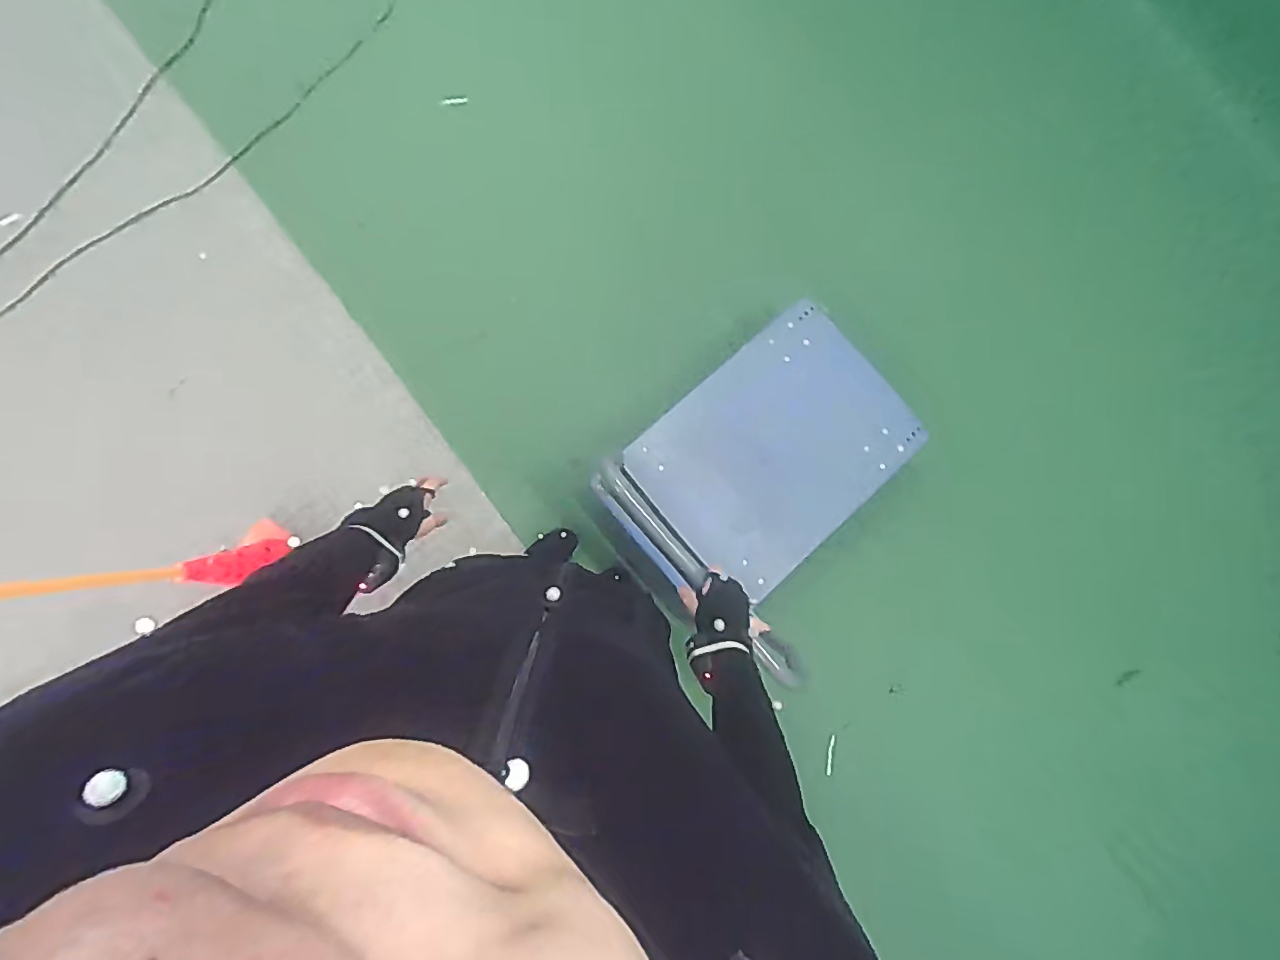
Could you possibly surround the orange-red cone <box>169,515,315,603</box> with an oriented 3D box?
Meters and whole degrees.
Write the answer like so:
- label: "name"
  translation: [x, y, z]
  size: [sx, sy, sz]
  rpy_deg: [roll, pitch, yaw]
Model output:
- label: "orange-red cone"
  translation: [-1.052, 0.206, 1.382]
  size: [0.199, 0.360, 0.198]
  rpy_deg: [38, 81, 1]
